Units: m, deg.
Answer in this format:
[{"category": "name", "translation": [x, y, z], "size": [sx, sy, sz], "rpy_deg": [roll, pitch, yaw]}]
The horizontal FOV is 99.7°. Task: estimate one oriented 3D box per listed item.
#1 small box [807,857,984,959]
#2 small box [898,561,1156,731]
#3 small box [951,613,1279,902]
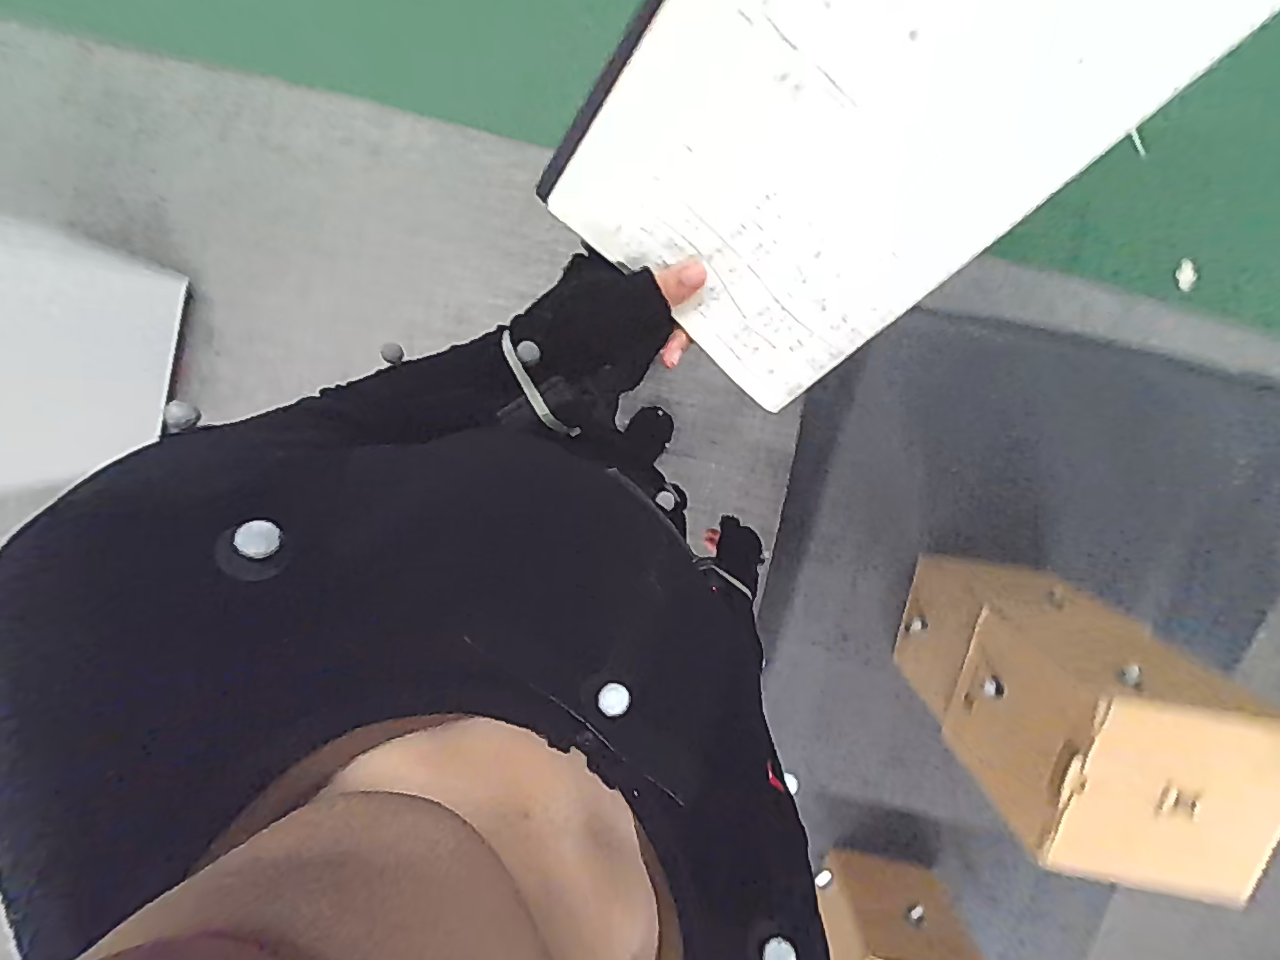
[{"category": "small box", "translation": [0.359, 0.689, 0.776], "size": [0.179, 0.176, 0.168], "rpy_deg": [13, 102, -1]}, {"category": "small box", "translation": [0.459, 0.213, 0.674], "size": [0.179, 0.176, 0.168], "rpy_deg": [9, 102, 1]}, {"category": "small box", "translation": [0.444, 0.245, 0.515], "size": [0.179, 0.176, 0.168], "rpy_deg": [10, 102, 0]}]
